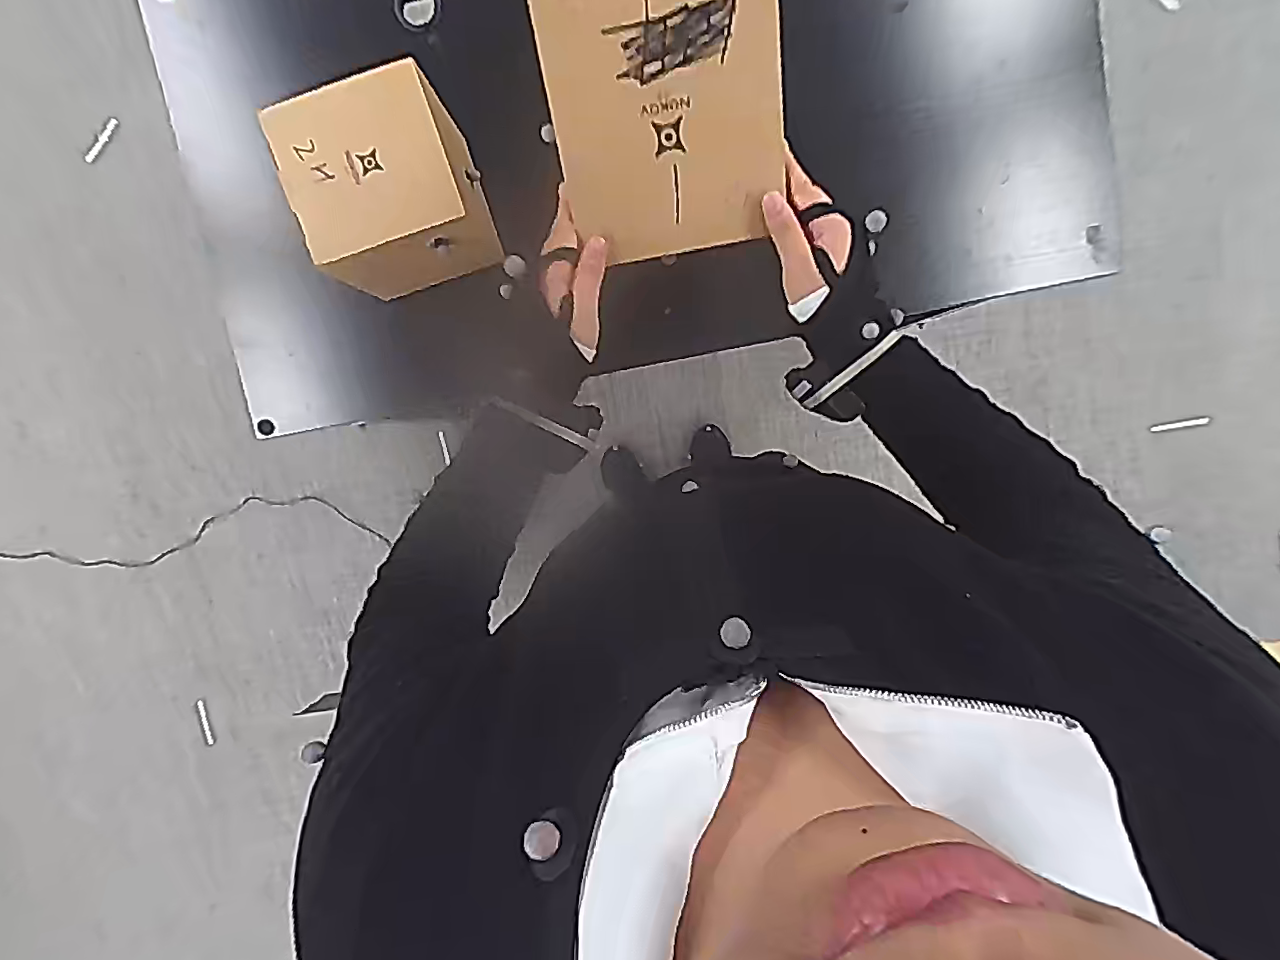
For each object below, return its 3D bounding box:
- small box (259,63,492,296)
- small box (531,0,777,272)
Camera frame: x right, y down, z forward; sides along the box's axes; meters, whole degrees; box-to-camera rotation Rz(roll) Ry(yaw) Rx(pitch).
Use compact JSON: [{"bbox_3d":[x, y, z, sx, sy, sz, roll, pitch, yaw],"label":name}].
[{"bbox_3d":[-0.293,-0.341,0.650,0.179,0.176,0.168,-18,96,2],"label":"small box"},{"bbox_3d":[0.014,-0.291,0.471,0.168,0.176,0.179,-9,116,3],"label":"small box"}]
